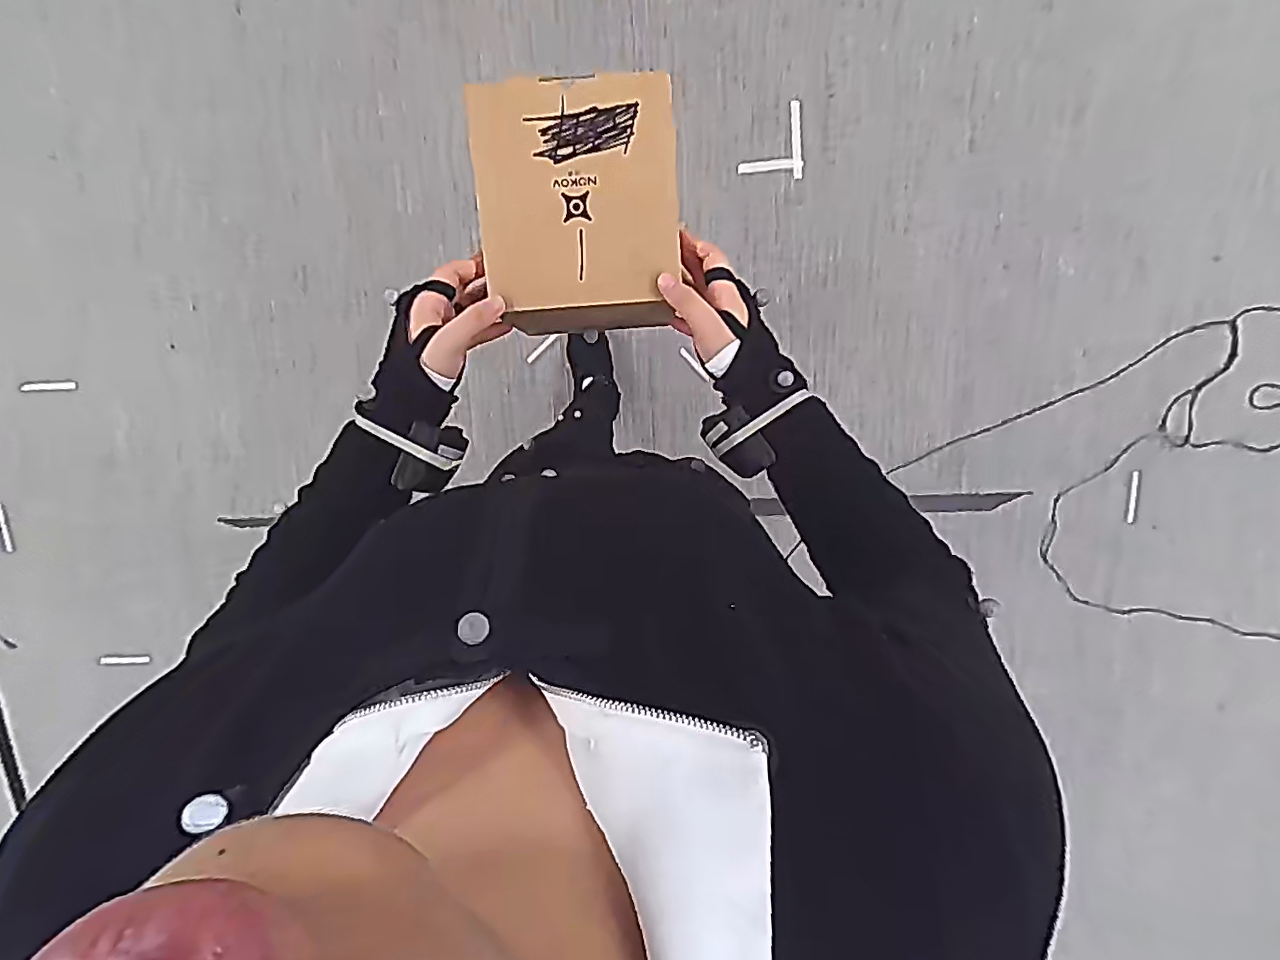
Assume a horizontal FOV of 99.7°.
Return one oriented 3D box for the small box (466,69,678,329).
[{"bbox_3d":[-0.056,-0.250,0.522,0.168,0.176,0.179,-4,99,0],"label":"small box"}]
